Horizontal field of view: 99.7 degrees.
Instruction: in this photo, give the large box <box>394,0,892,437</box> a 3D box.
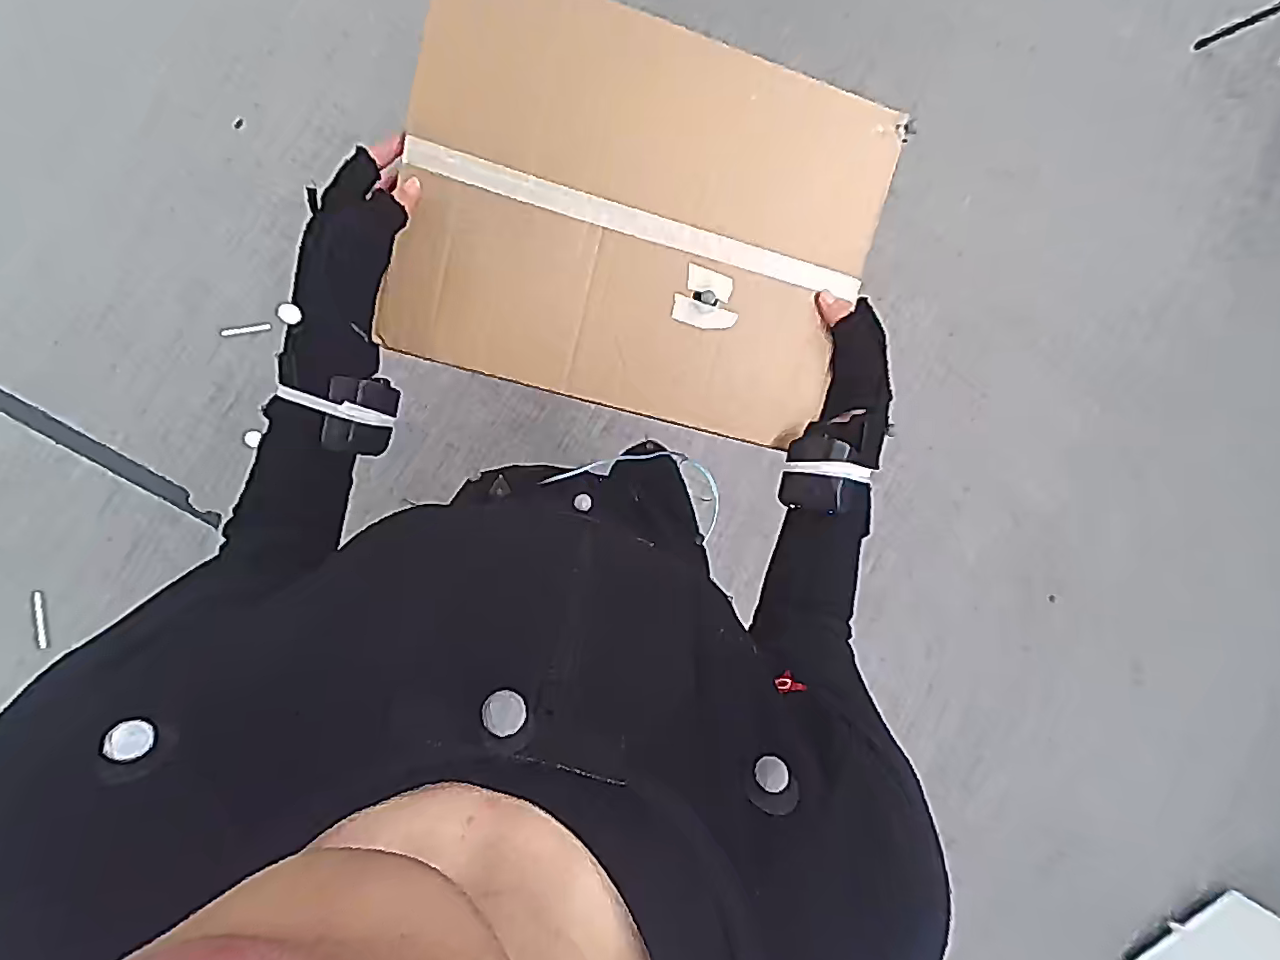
[{"bbox_3d":[-0.014,-0.256,0.629,0.408,0.320,0.320,13,99,-11],"label":"large box"}]
